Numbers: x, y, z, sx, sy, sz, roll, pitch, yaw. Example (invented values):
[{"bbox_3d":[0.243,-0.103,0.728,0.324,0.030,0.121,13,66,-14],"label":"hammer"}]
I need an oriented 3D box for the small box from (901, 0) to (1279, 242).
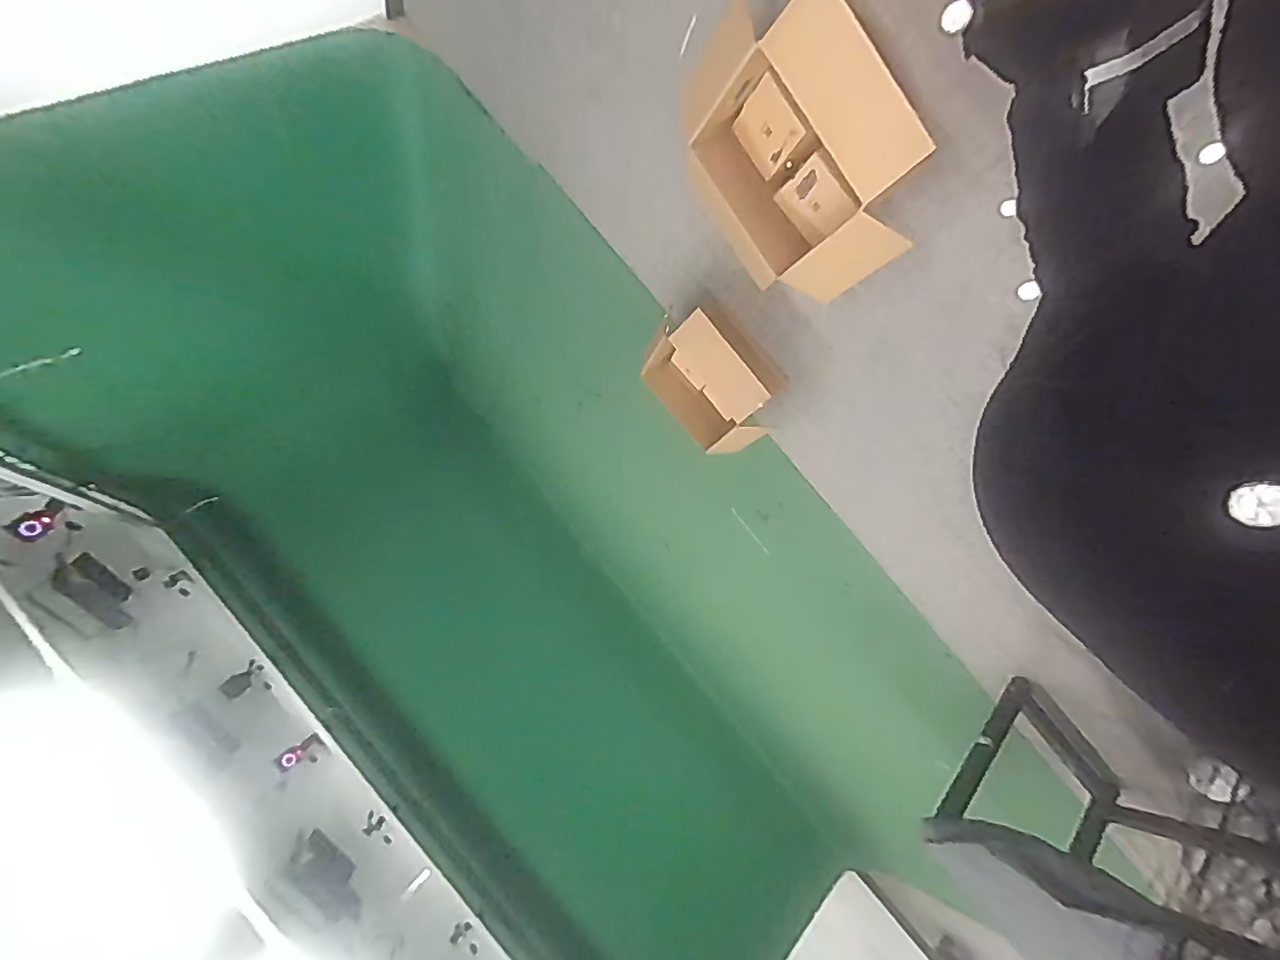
[{"bbox_3d":[0.296,-0.278,0.336,0.176,0.168,0.179,42,117,43],"label":"small box"}]
